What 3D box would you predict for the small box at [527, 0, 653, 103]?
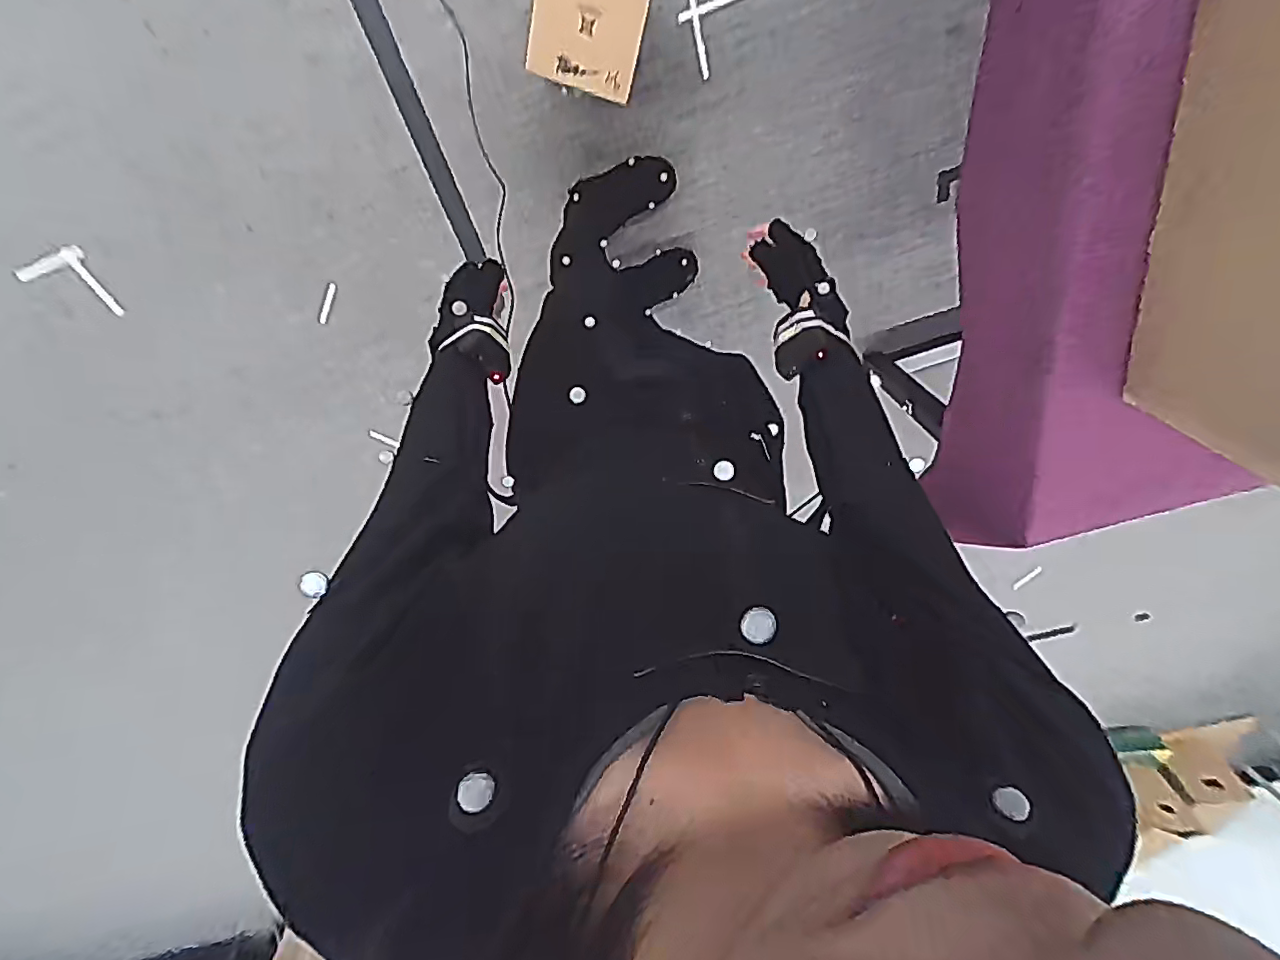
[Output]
[{"bbox_3d":[-0.079,-0.732,0.864,0.168,0.176,0.179,11,122,-13],"label":"small box"}]
